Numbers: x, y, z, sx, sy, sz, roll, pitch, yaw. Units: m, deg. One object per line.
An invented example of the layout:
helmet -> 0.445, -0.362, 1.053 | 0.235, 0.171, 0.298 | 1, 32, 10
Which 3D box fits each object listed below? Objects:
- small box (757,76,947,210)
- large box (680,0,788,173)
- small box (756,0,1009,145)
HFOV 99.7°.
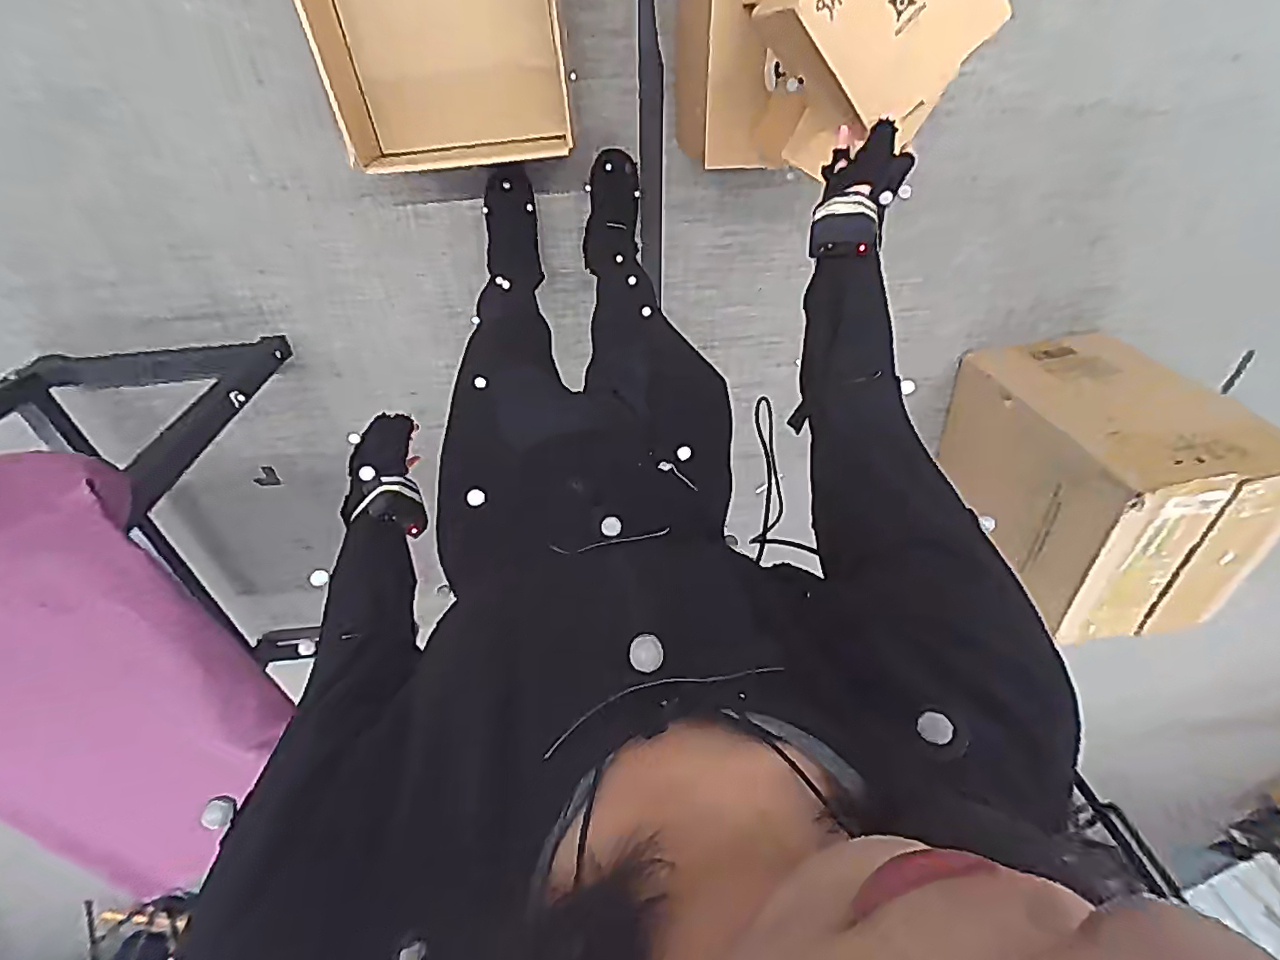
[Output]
small box -> 0.299, -0.545, 0.809 | 0.168, 0.176, 0.179 | 19, 124, -21
large box -> 0.243, -0.788, 0.923 | 0.320, 0.320, 0.408 | -5, 129, -3
small box -> 0.260, -0.526, 0.611 | 0.179, 0.176, 0.168 | 36, 116, -30
